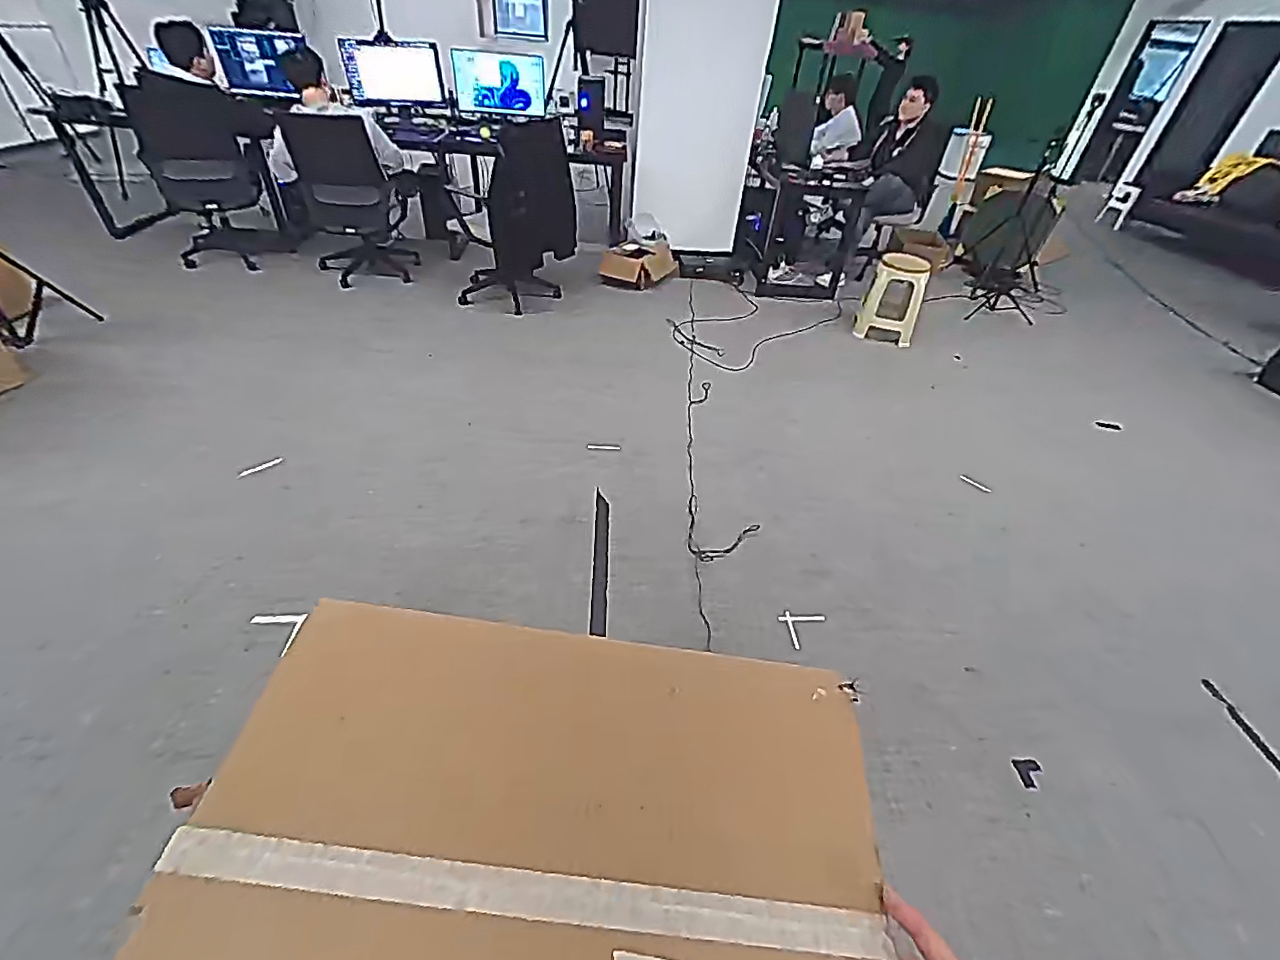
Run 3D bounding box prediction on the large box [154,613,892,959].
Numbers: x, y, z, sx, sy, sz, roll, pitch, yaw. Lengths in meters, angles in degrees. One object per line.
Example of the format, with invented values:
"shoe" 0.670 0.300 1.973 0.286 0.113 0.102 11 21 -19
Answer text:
"large box" -0.068 0.336 0.426 0.408 0.320 0.320 9 49 -2
